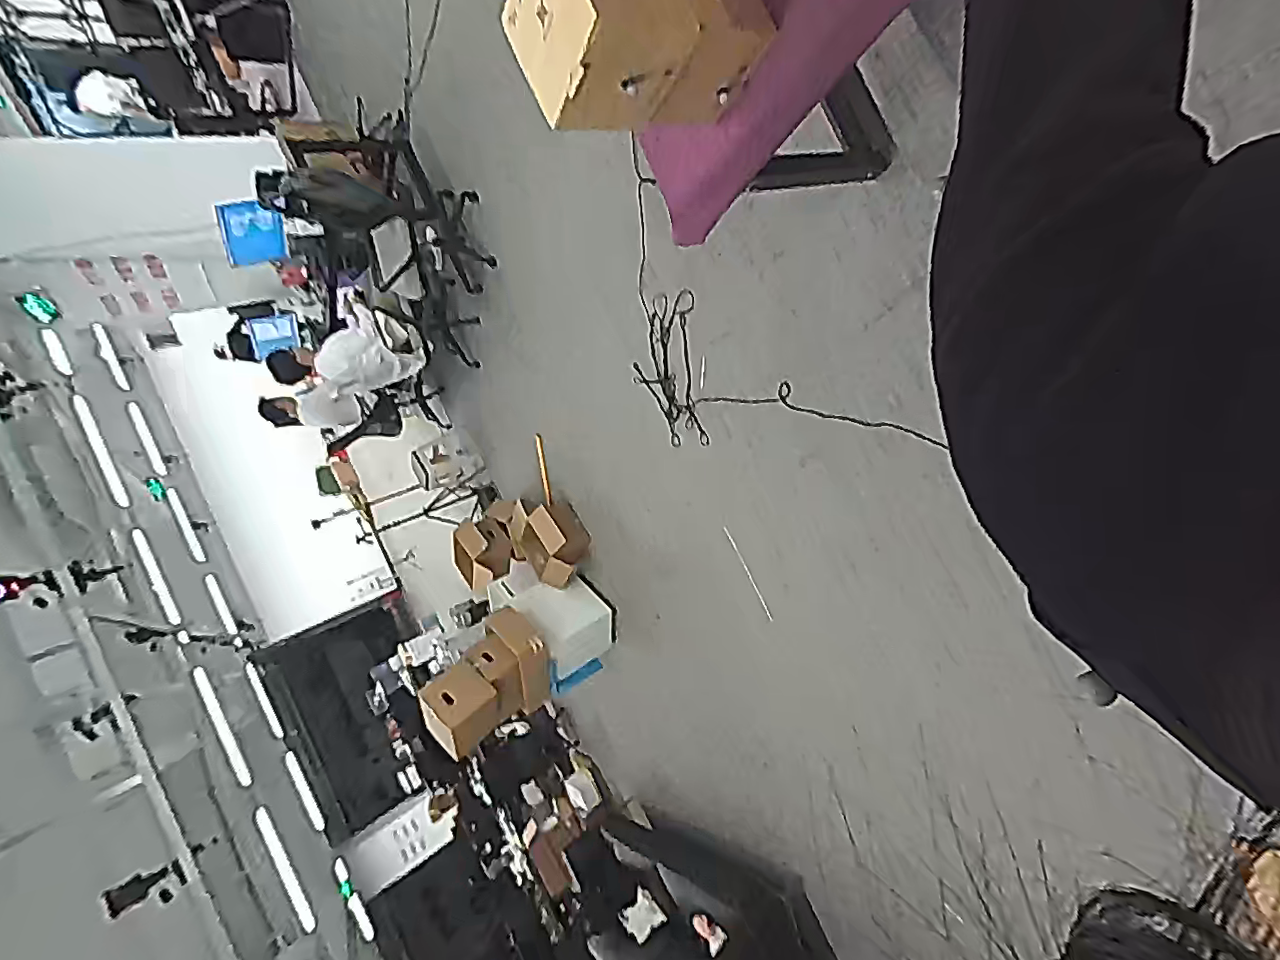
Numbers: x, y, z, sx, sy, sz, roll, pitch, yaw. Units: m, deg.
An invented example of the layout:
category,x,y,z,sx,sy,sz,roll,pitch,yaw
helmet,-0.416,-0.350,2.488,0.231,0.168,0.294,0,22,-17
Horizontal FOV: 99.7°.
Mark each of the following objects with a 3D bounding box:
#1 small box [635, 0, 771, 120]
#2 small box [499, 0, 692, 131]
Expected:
category,x,y,z,sx,sy,sz,roll,pitch,yaw
small box,0.061,-0.678,0.815,0.168,0.176,0.179,-31,85,58
small box,-0.060,-0.611,0.726,0.168,0.176,0.179,-28,88,57
